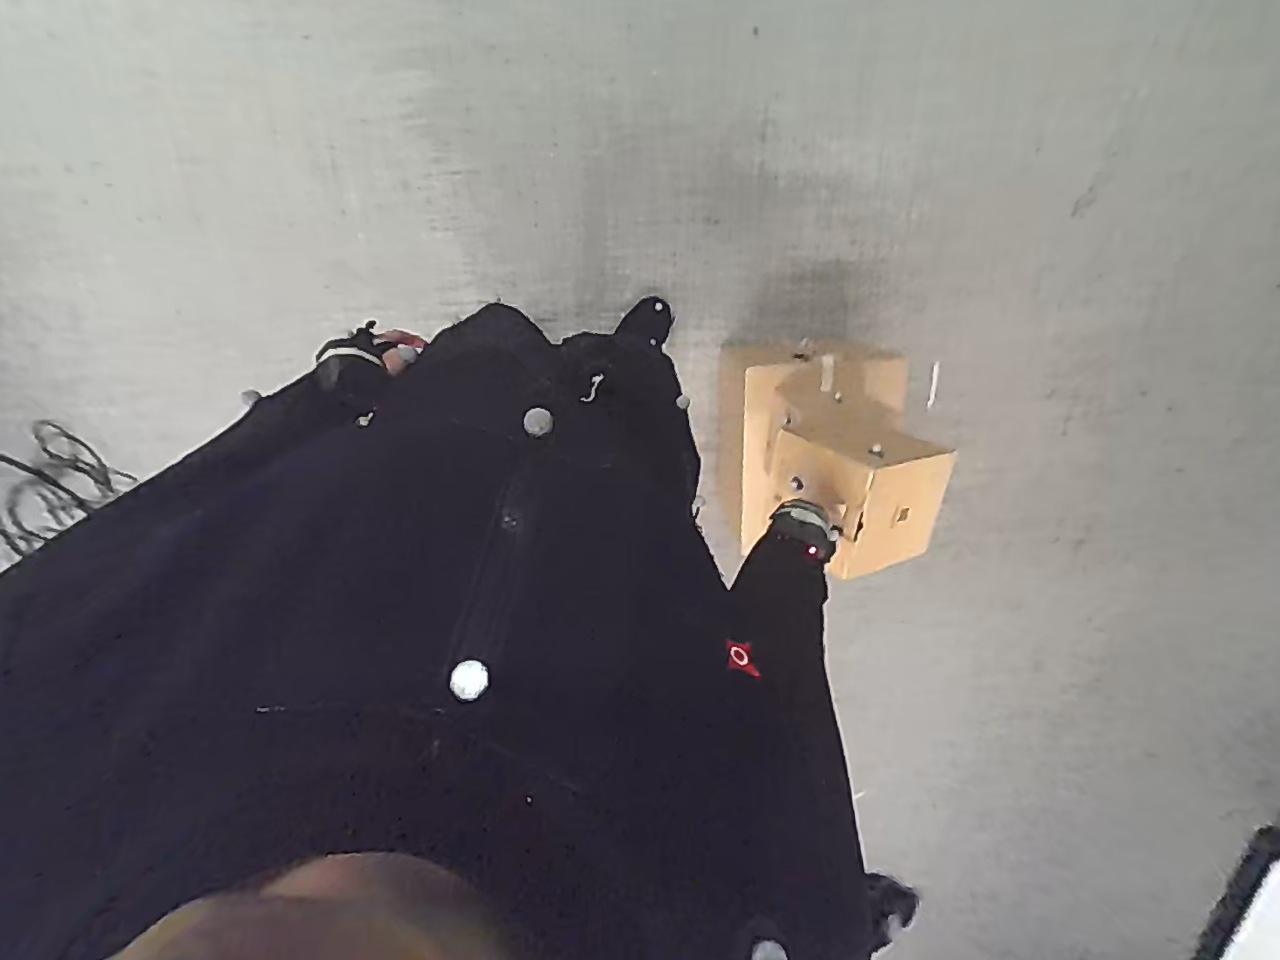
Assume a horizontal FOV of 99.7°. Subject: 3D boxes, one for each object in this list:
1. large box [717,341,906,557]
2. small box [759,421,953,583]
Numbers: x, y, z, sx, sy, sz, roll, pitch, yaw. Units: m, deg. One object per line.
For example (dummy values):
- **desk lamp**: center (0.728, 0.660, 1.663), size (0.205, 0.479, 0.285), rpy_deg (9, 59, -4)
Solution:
- **large box**: center (0.353, -0.084, 1.220), size (0.320, 0.320, 0.408), rpy_deg (-3, 112, 0)
- **small box**: center (0.304, 0.020, 0.785), size (0.179, 0.176, 0.168), rpy_deg (-10, 118, -29)
